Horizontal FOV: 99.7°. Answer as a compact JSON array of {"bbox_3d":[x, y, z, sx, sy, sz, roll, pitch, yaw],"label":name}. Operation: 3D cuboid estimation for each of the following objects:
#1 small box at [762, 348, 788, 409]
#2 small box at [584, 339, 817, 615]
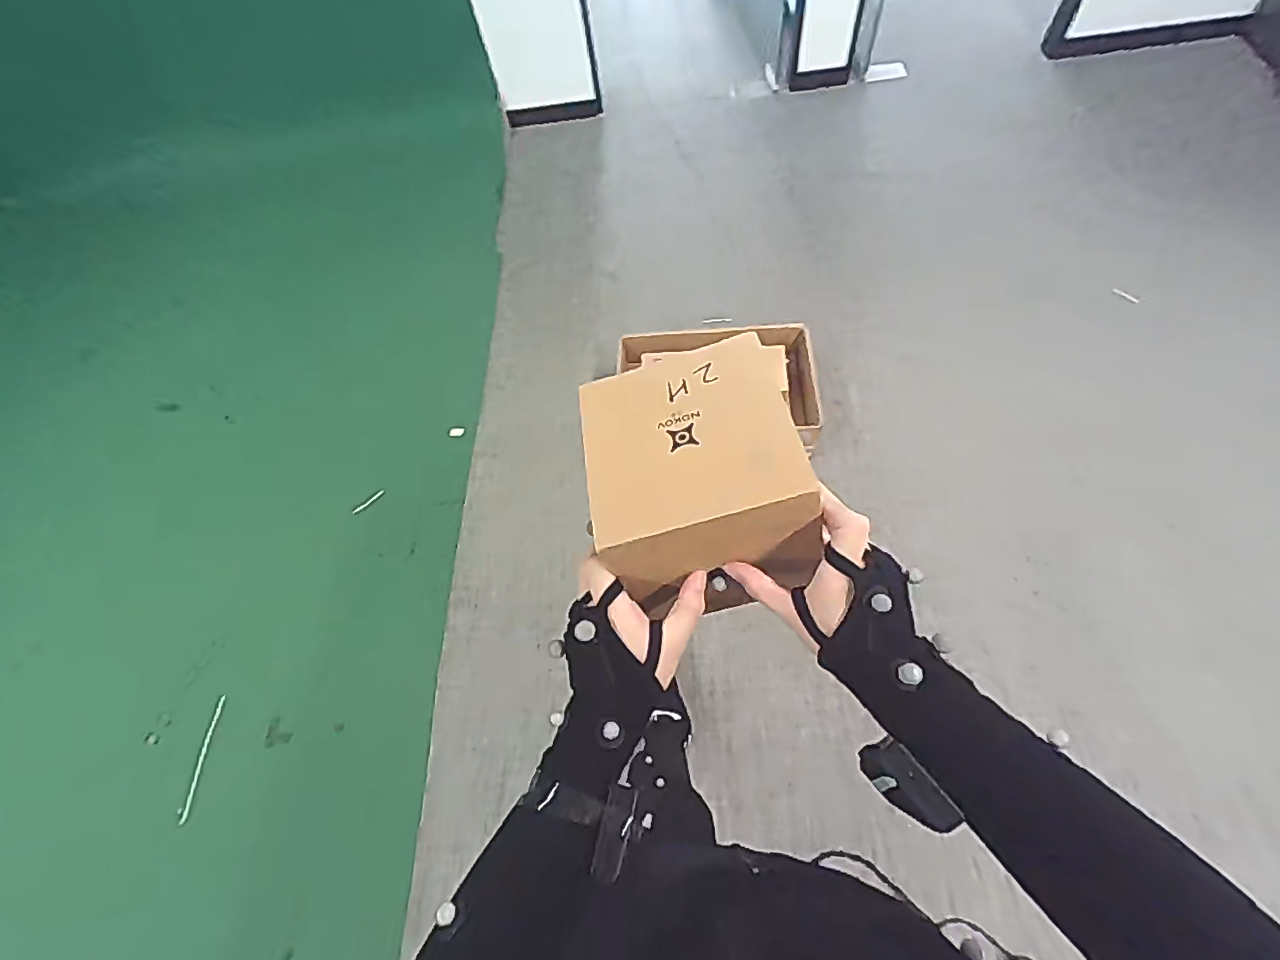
[{"bbox_3d":[0.376,-0.294,1.722,0.168,0.176,0.179,-1,63,7],"label":"small box"},{"bbox_3d":[0.057,0.009,0.495,0.168,0.176,0.179,-15,52,9],"label":"small box"}]
